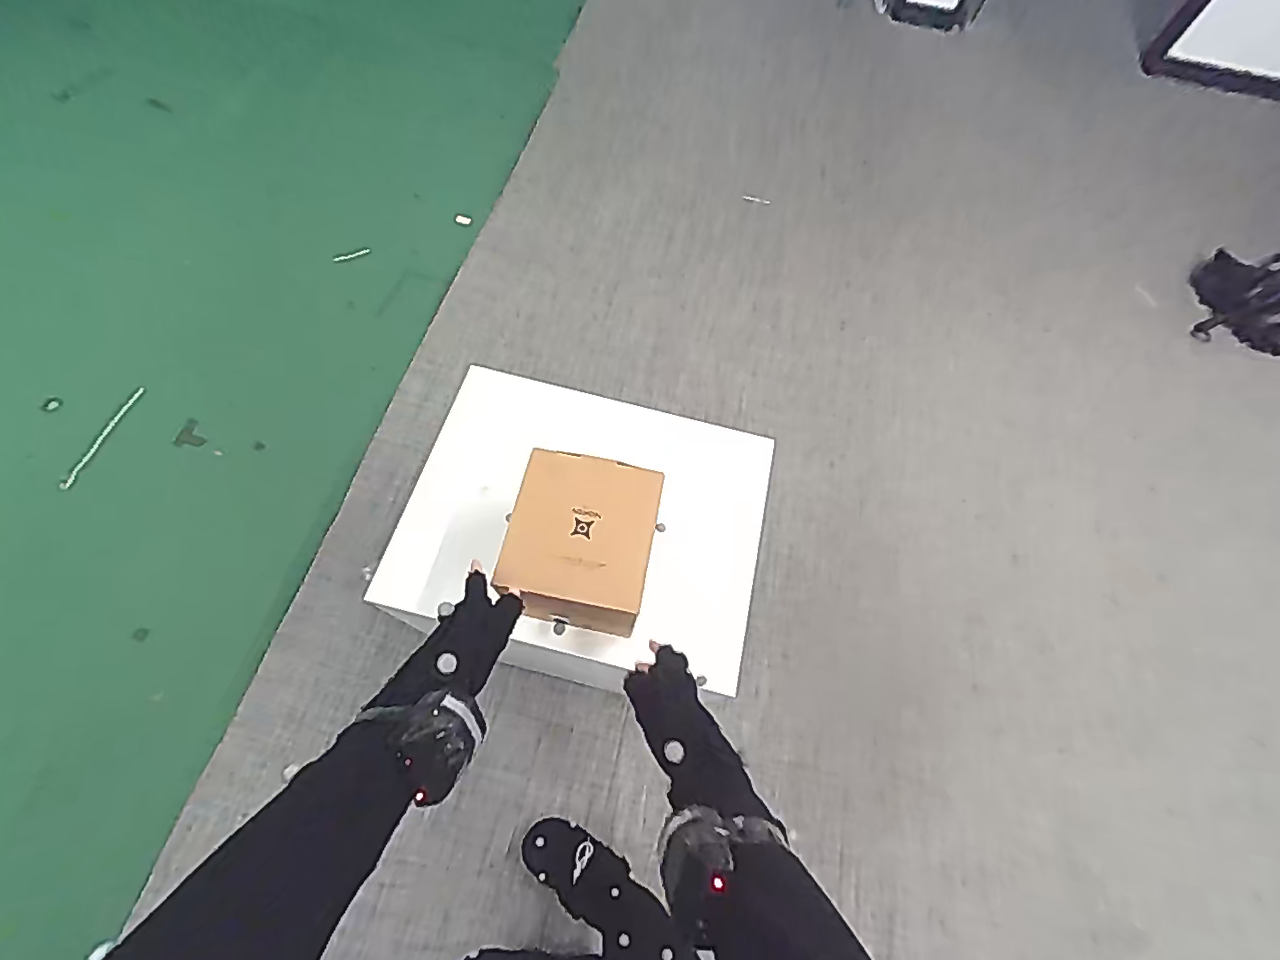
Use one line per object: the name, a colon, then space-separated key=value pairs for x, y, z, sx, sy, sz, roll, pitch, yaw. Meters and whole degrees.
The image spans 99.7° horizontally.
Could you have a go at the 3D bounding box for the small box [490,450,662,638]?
small box: x=-0.072 y=0.088 z=0.683 sx=0.168 sy=0.176 sz=0.179 roll=10 pitch=66 yaw=2
